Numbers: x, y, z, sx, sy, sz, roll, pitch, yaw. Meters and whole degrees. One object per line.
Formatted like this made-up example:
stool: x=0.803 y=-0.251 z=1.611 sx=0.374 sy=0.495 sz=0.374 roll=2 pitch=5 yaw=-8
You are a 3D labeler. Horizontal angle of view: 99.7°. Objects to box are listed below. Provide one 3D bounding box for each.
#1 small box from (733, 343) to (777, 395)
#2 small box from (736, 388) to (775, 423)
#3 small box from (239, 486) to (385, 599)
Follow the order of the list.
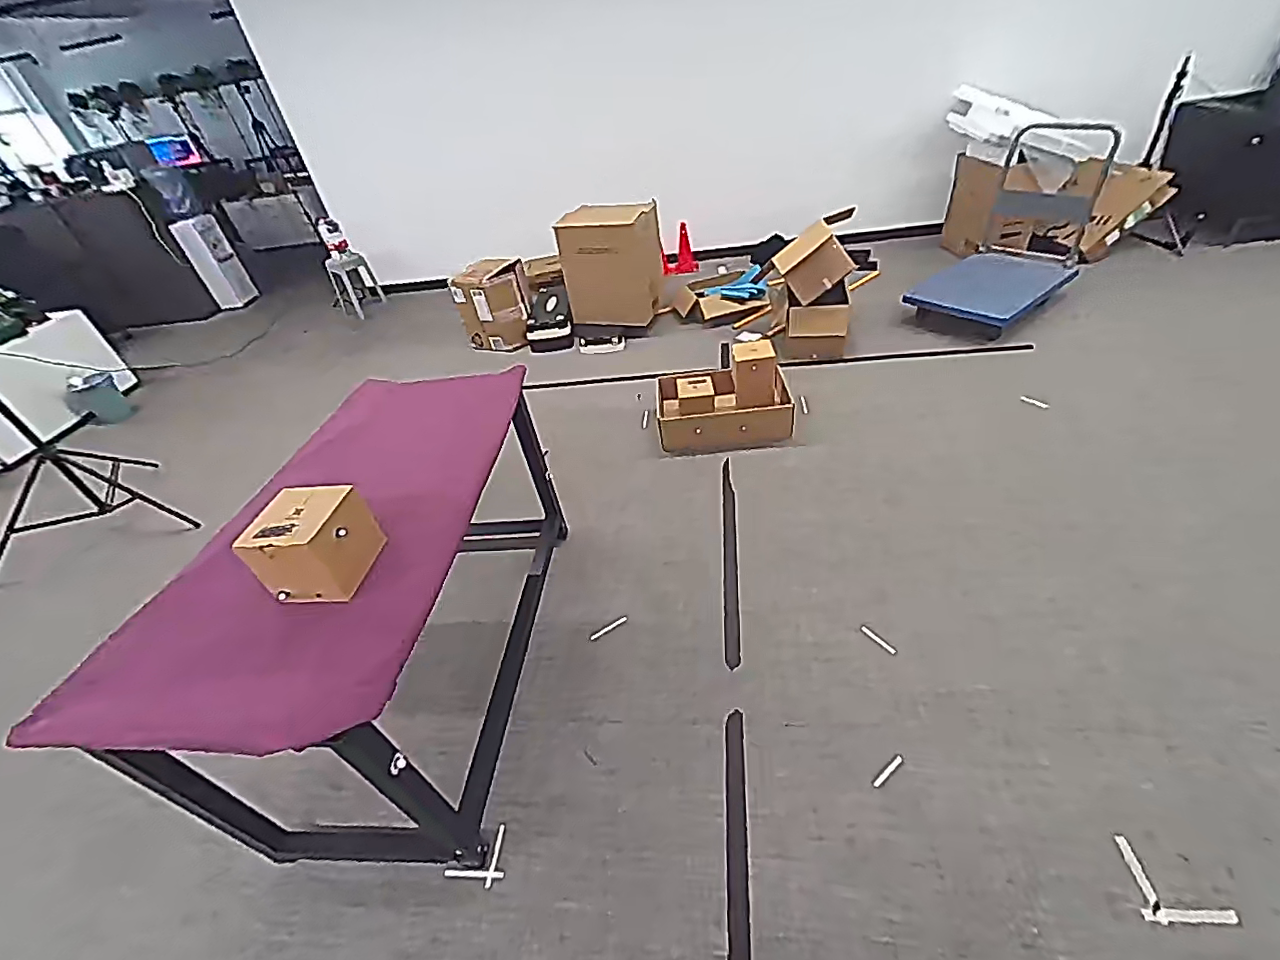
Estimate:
small box: x=0.524 y=-0.508 z=2.478 sx=0.179 sy=0.176 sz=0.168 roll=-6 pitch=39 yaw=7
small box: x=0.550 y=-0.384 z=2.581 sx=0.168 sy=0.176 sz=0.179 roll=-5 pitch=38 yaw=6
small box: x=-0.668 y=0.135 z=1.131 sx=0.168 sy=0.176 sz=0.179 roll=-3 pitch=39 yaw=9
